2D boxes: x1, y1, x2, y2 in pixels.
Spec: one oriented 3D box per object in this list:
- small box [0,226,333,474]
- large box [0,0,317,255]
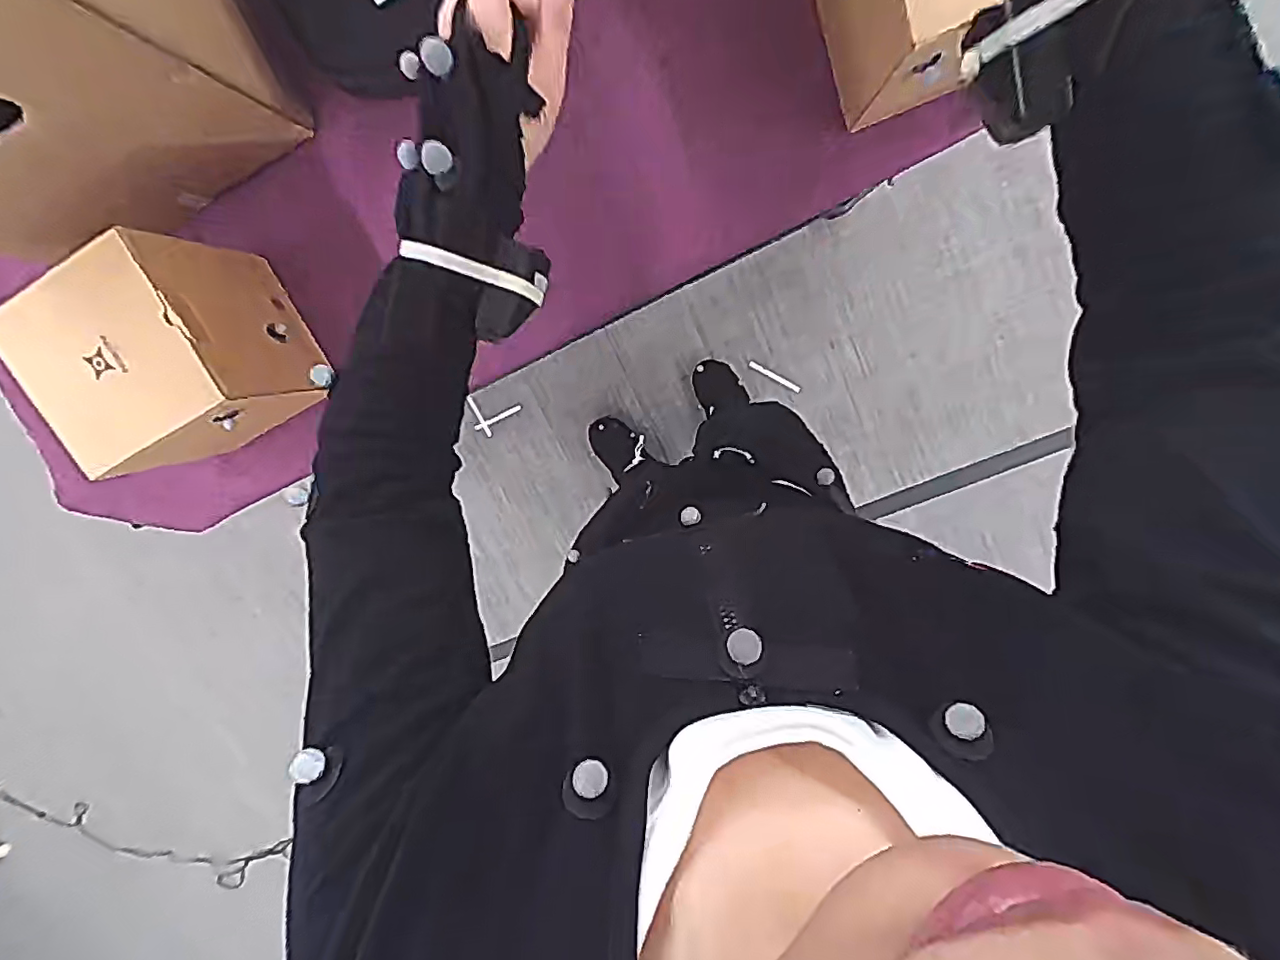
[{"bbox_3d":[-0.473,-0.128,0.564,0.179,0.176,0.168,-27,100,10],"label":"small box"},{"bbox_3d":[-0.570,-0.444,0.416,0.320,0.320,0.408,-25,104,11],"label":"large box"}]
